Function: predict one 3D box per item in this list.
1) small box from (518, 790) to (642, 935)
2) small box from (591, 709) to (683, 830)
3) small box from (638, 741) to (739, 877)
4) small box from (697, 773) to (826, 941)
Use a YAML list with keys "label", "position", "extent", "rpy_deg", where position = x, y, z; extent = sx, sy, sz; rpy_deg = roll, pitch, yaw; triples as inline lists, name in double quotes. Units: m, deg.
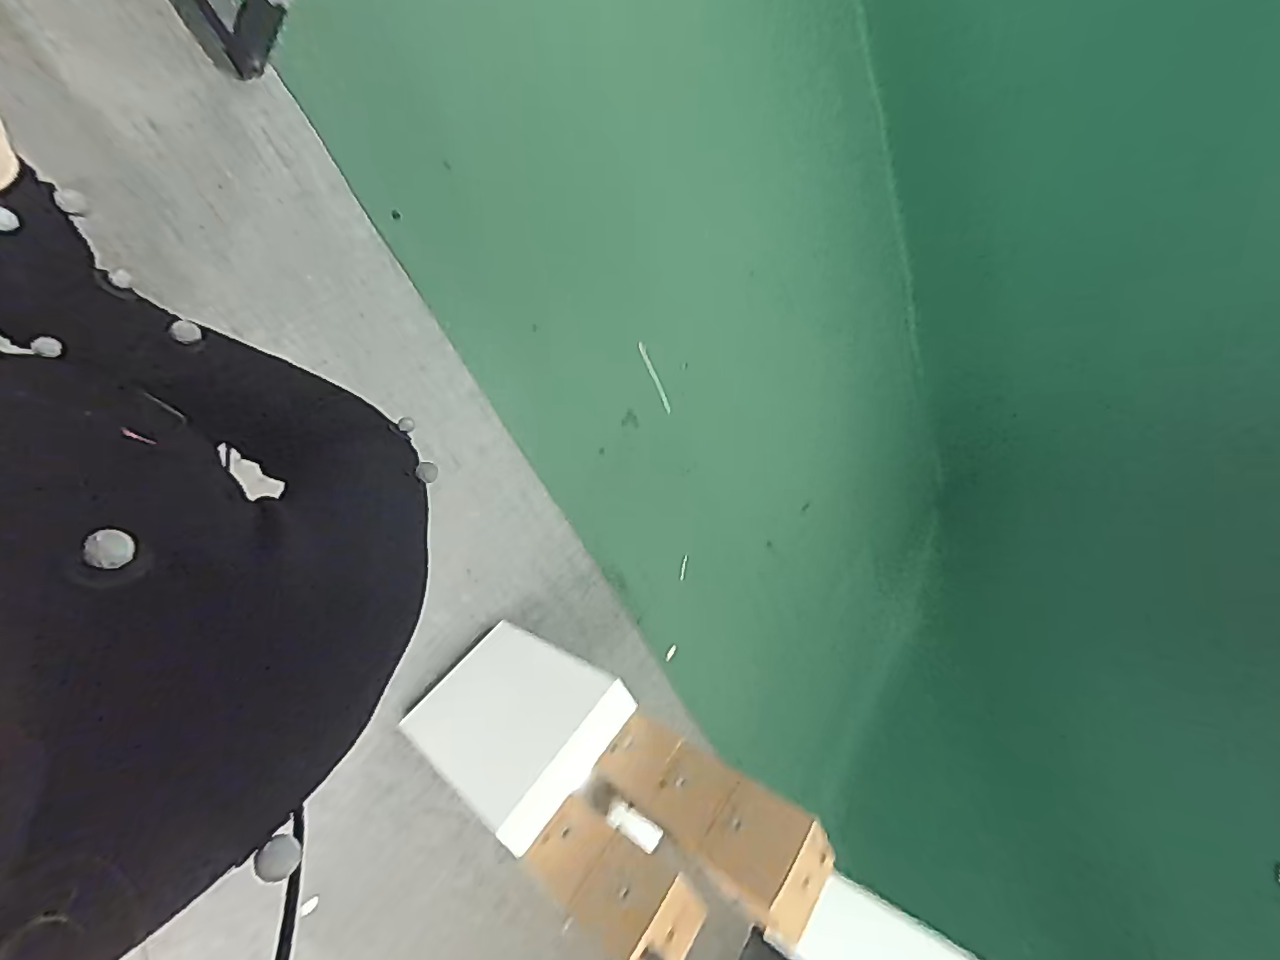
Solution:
- label: "small box"
  position: [-0.130, 0.823, 1.181]
  extent: [0.168, 0.176, 0.179]
  rpy_deg: [-44, 123, -32]
- label: "small box"
  position: [0.015, 0.688, 1.302]
  extent: [0.168, 0.176, 0.179]
  rpy_deg: [-44, 122, -30]
- label: "small box"
  position: [0.126, 0.711, 1.182]
  extent: [0.168, 0.176, 0.179]
  rpy_deg: [-43, 123, -31]
- label: "small box"
  position: [0.232, 0.725, 1.057]
  extent: [0.179, 0.176, 0.168]
  rpy_deg: [-42, 122, -30]
